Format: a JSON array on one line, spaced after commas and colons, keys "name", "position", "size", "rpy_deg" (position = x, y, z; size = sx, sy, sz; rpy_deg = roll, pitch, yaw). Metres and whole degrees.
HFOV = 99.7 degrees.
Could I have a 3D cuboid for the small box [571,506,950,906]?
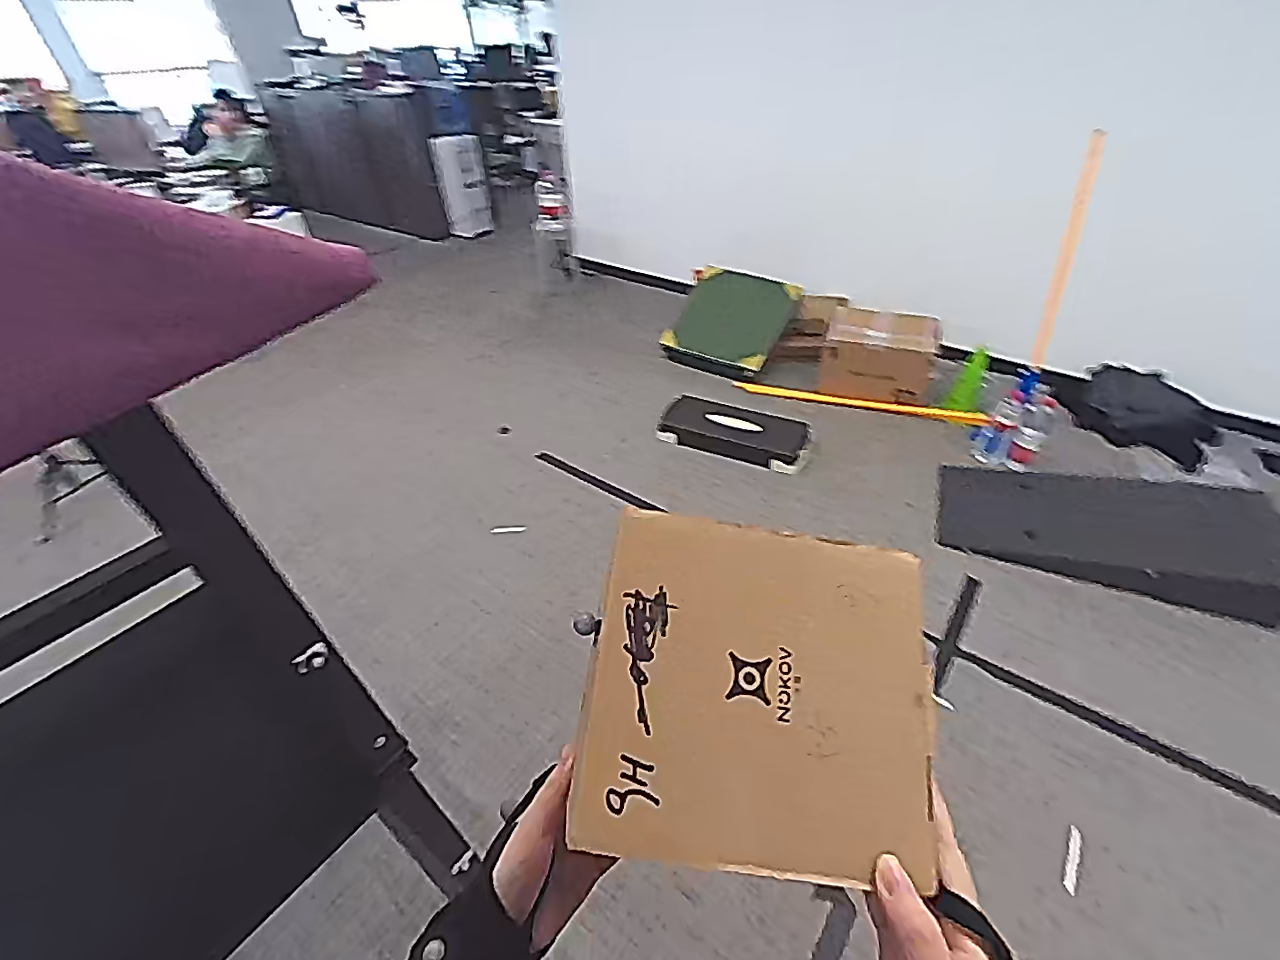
[{"name": "small box", "position": [0.059, 0.136, 0.345], "size": [0.179, 0.176, 0.168], "rpy_deg": [11, 64, -3]}]
